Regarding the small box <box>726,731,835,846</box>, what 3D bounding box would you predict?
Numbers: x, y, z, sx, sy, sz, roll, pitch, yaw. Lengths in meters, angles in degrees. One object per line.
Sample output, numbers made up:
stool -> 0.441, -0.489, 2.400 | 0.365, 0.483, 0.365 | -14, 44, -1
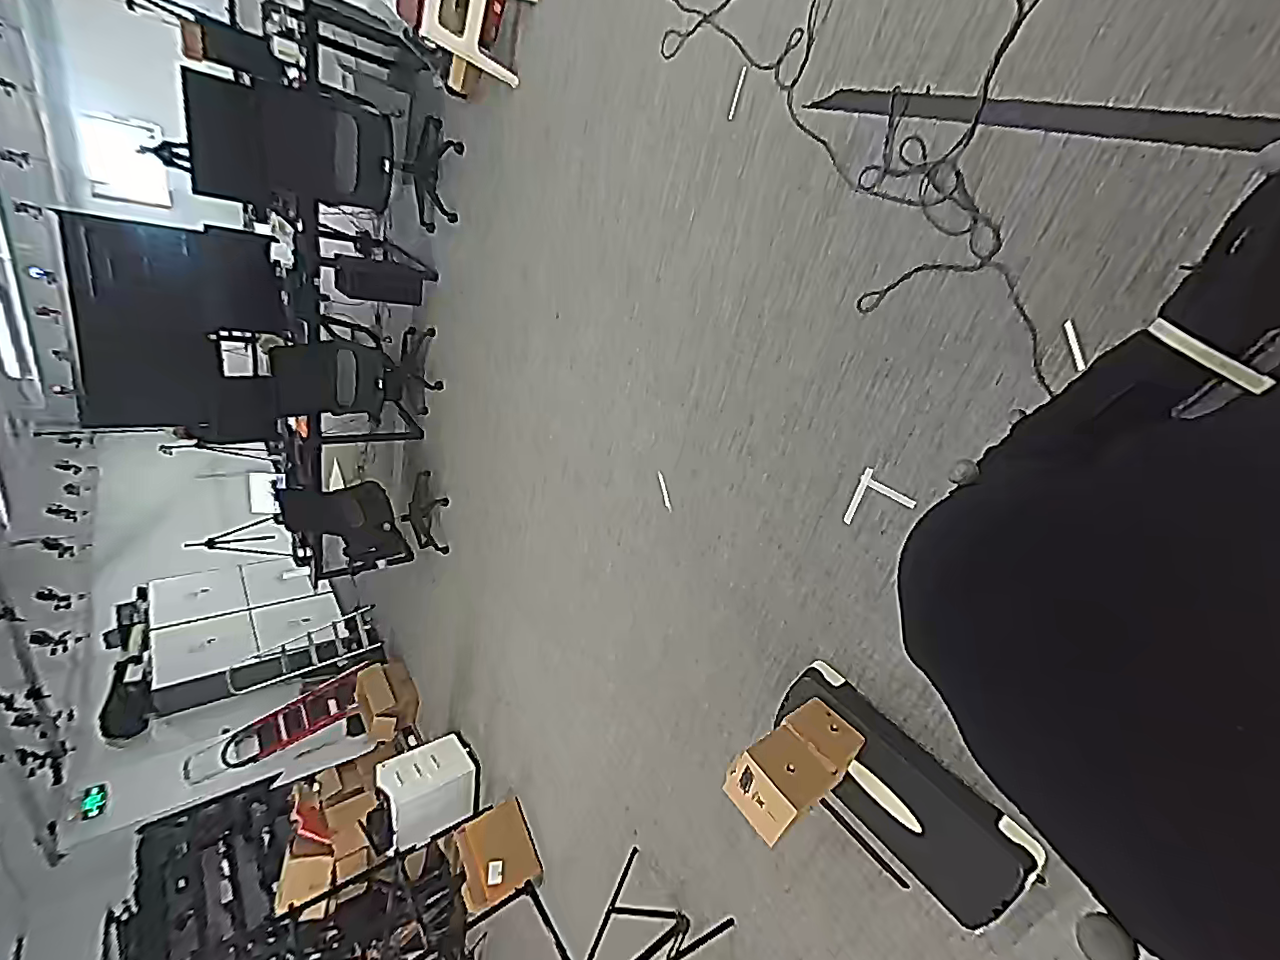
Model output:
small box -> 0.361, 0.778, 1.389 | 0.179, 0.176, 0.168 | 42, 126, 36

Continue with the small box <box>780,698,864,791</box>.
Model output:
small box -> 0.486, 0.744, 1.492 | 0.168, 0.176, 0.179 | 36, 122, 40
